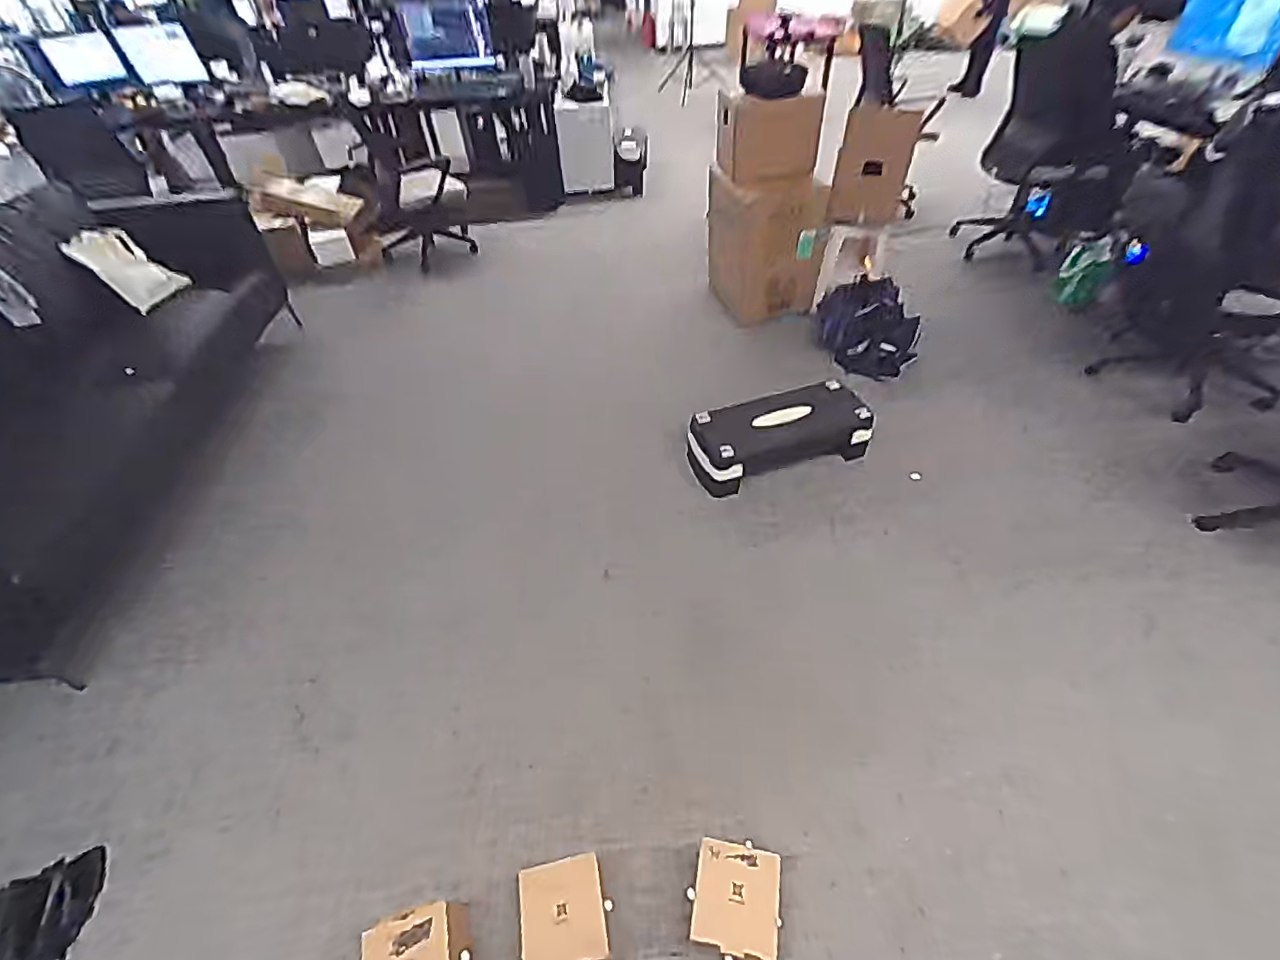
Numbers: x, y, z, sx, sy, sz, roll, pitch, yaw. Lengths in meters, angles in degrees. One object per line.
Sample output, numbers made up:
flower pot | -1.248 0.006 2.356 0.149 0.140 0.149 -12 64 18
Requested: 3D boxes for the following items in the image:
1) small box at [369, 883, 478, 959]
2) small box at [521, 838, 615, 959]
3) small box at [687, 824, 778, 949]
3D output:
small box | -0.437 0.966 1.104 0.168 0.176 0.179 -16 48 -10
small box | -0.151 0.898 1.151 0.168 0.176 0.179 -10 46 -7
small box | 0.198 0.866 1.149 0.168 0.176 0.179 7 48 12
